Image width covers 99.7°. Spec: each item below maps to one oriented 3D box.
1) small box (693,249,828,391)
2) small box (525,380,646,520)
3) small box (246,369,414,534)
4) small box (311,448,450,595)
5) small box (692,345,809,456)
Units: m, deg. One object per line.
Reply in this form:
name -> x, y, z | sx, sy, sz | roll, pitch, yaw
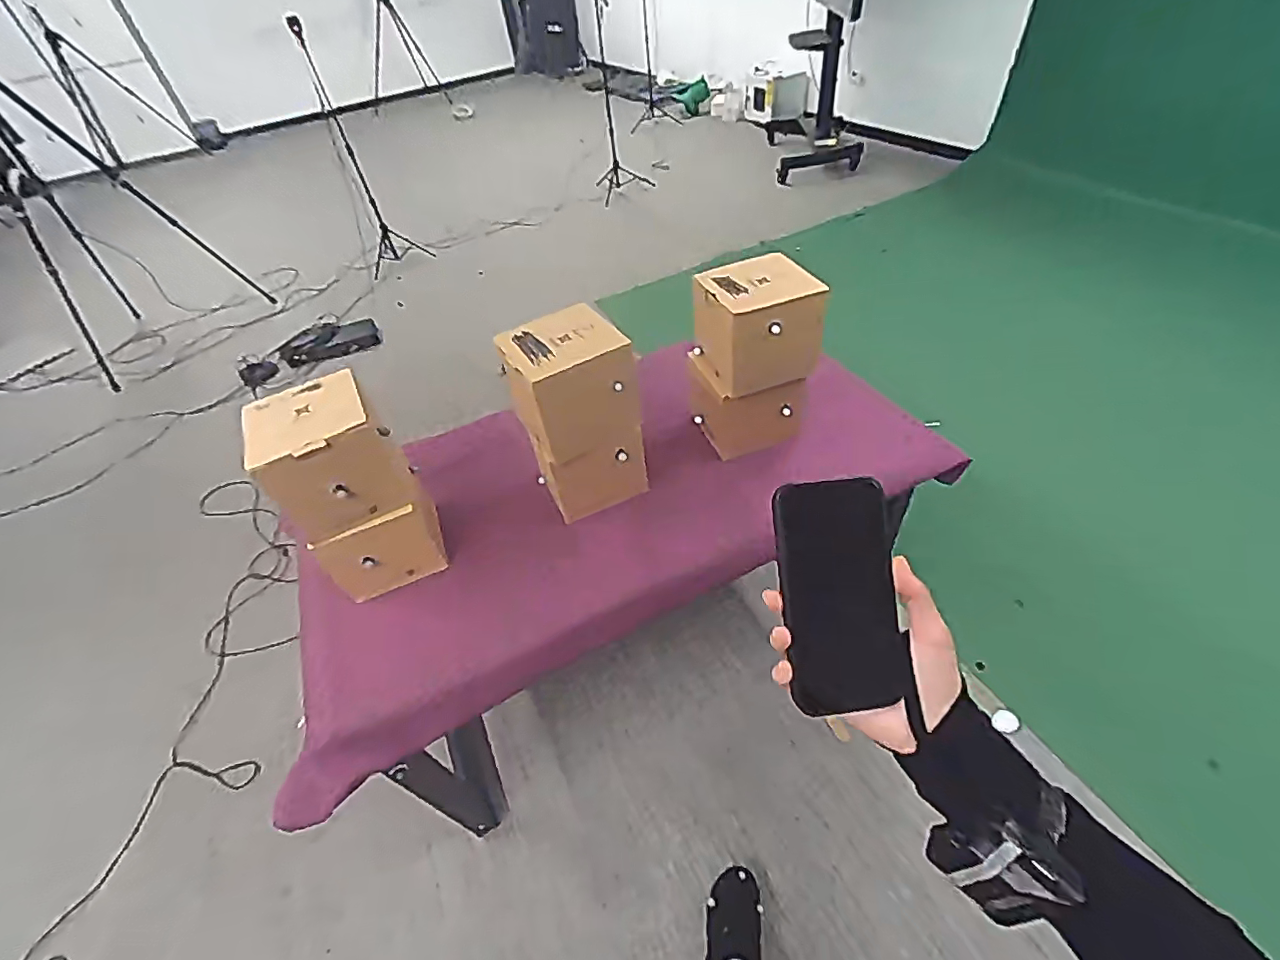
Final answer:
small box -> 0.210, -0.284, 0.969 | 0.179, 0.176, 0.168 | -18, 46, -9
small box -> -0.096, -0.057, 1.030 | 0.179, 0.176, 0.168 | -23, 47, -12
small box -> -0.479, -0.038, 0.849 | 0.168, 0.176, 0.179 | -26, 48, -16
small box -> -0.456, 0.080, 0.961 | 0.168, 0.176, 0.179 | -23, 47, -12
small box -> 0.215, -0.177, 1.094 | 0.179, 0.176, 0.168 | -19, 46, -8
